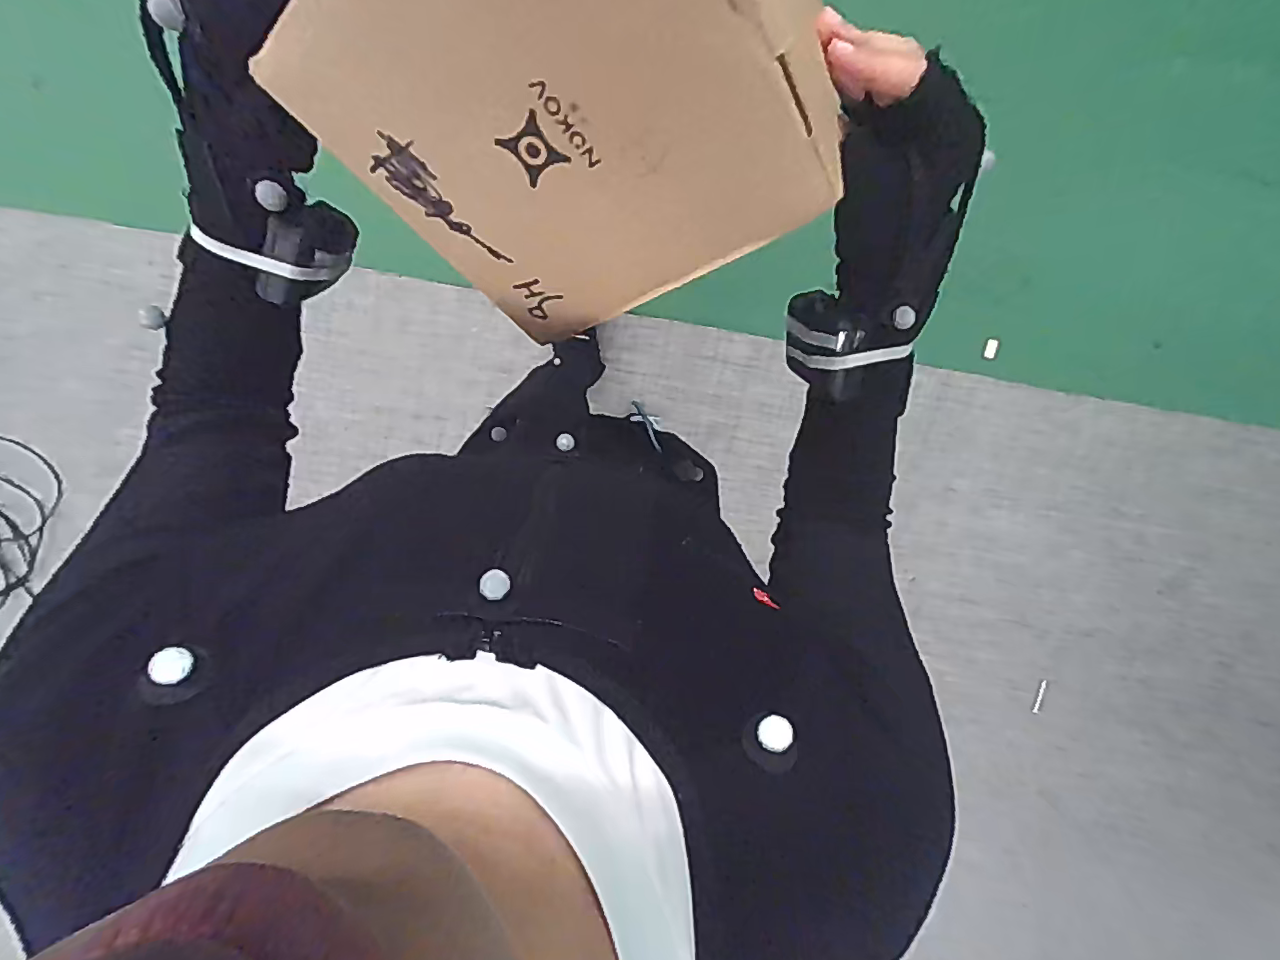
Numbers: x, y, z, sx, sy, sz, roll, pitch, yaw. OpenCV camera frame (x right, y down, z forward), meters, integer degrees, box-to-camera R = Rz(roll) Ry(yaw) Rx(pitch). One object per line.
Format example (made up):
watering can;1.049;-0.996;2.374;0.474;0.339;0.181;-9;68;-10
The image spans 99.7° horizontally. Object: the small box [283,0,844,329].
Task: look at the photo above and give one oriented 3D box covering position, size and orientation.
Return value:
small box;-0.019;-0.215;0.263;0.179;0.176;0.168;-15;140;33
